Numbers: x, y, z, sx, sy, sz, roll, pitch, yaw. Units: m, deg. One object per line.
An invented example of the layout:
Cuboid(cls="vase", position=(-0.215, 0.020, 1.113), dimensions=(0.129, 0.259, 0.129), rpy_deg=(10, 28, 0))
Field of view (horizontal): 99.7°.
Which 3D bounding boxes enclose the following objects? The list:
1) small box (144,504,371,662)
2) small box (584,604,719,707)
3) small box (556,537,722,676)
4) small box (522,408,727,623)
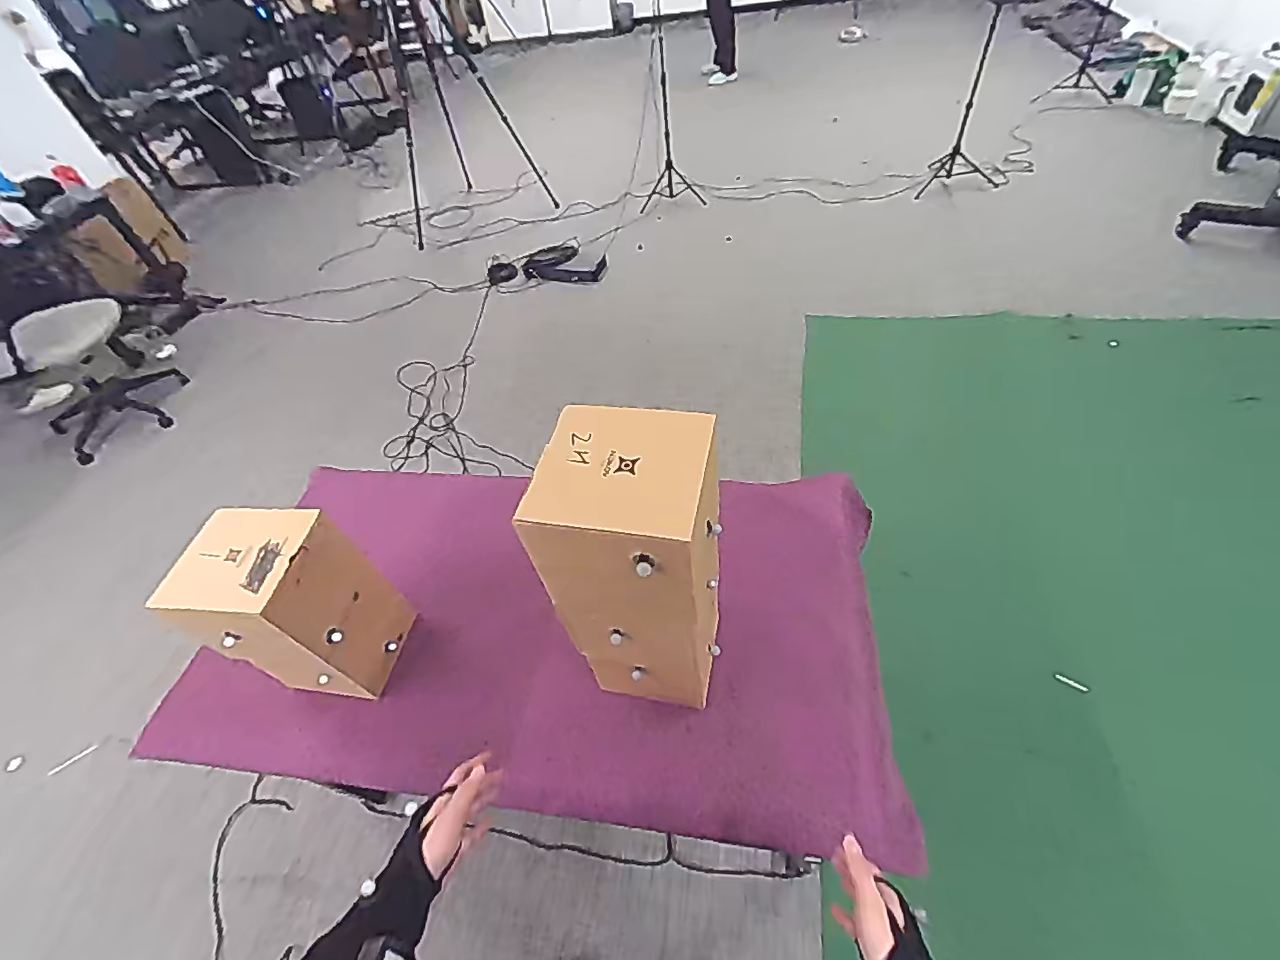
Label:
Cuboid(cls="small box", position=(-0.534, 0.153, 0.790), dimensions=(0.179, 0.176, 0.168), rpy_deg=(1, 50, 8))
Cuboid(cls="small box", position=(0.031, 0.244, 0.861), dimensions=(0.179, 0.176, 0.168), rpy_deg=(6, 51, 14))
Cuboid(cls="small box", position=(0.011, 0.146, 0.730), dimensions=(0.179, 0.176, 0.168), rpy_deg=(6, 51, 14))
Cuboid(cls="small box", position=(-0.002, 0.042, 0.602), dimensions=(0.179, 0.176, 0.168), rpy_deg=(6, 50, 14))
